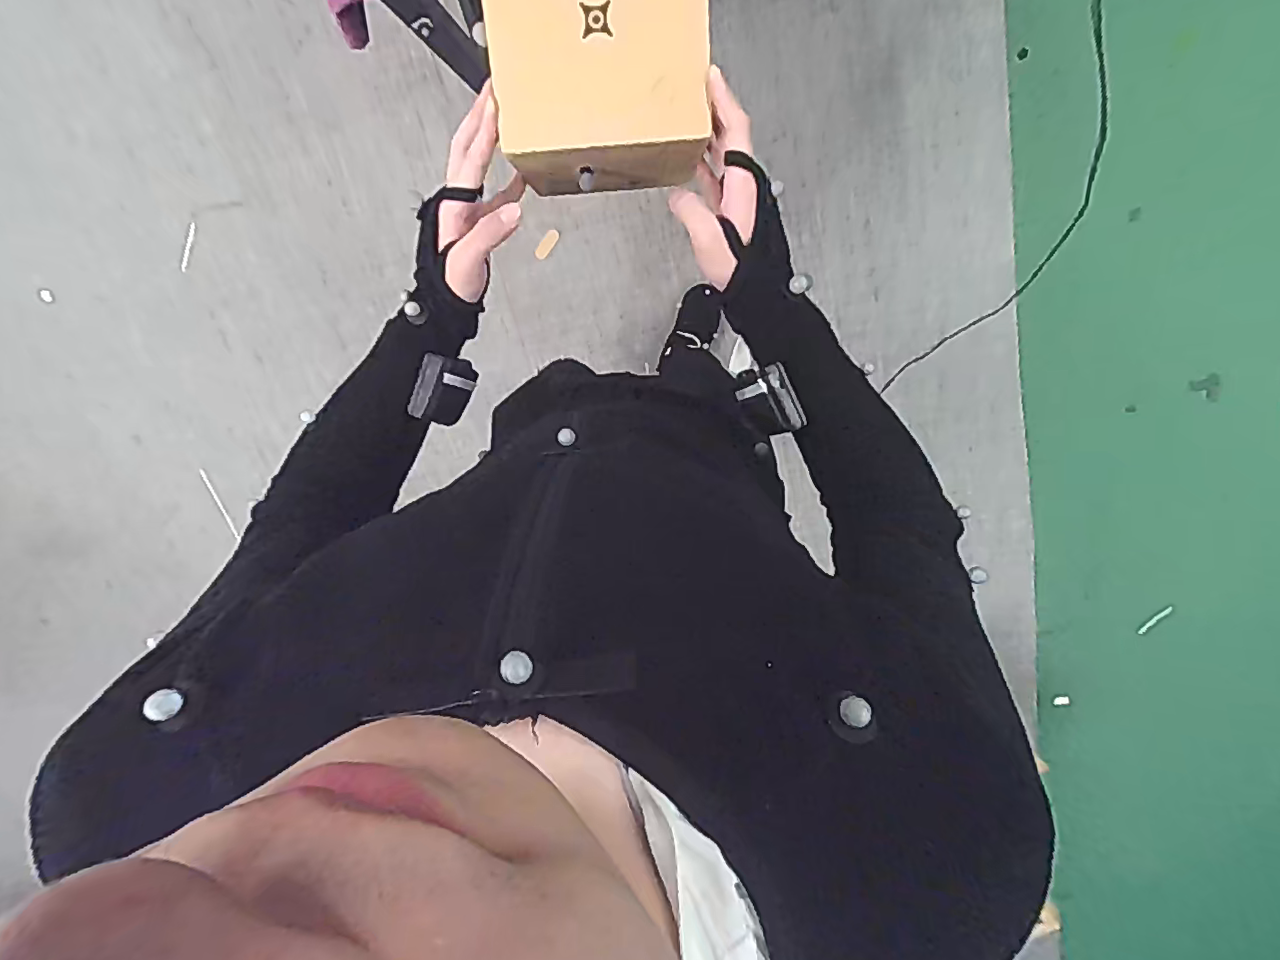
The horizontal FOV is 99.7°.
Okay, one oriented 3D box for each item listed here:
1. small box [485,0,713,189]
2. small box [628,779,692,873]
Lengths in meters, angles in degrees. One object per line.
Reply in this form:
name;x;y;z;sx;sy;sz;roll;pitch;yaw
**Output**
small box;-0.029;-0.365;0.467;0.168;0.176;0.179;-4;106;1
small box;0.061;1.004;1.583;0.168;0.176;0.179;-6;106;7
